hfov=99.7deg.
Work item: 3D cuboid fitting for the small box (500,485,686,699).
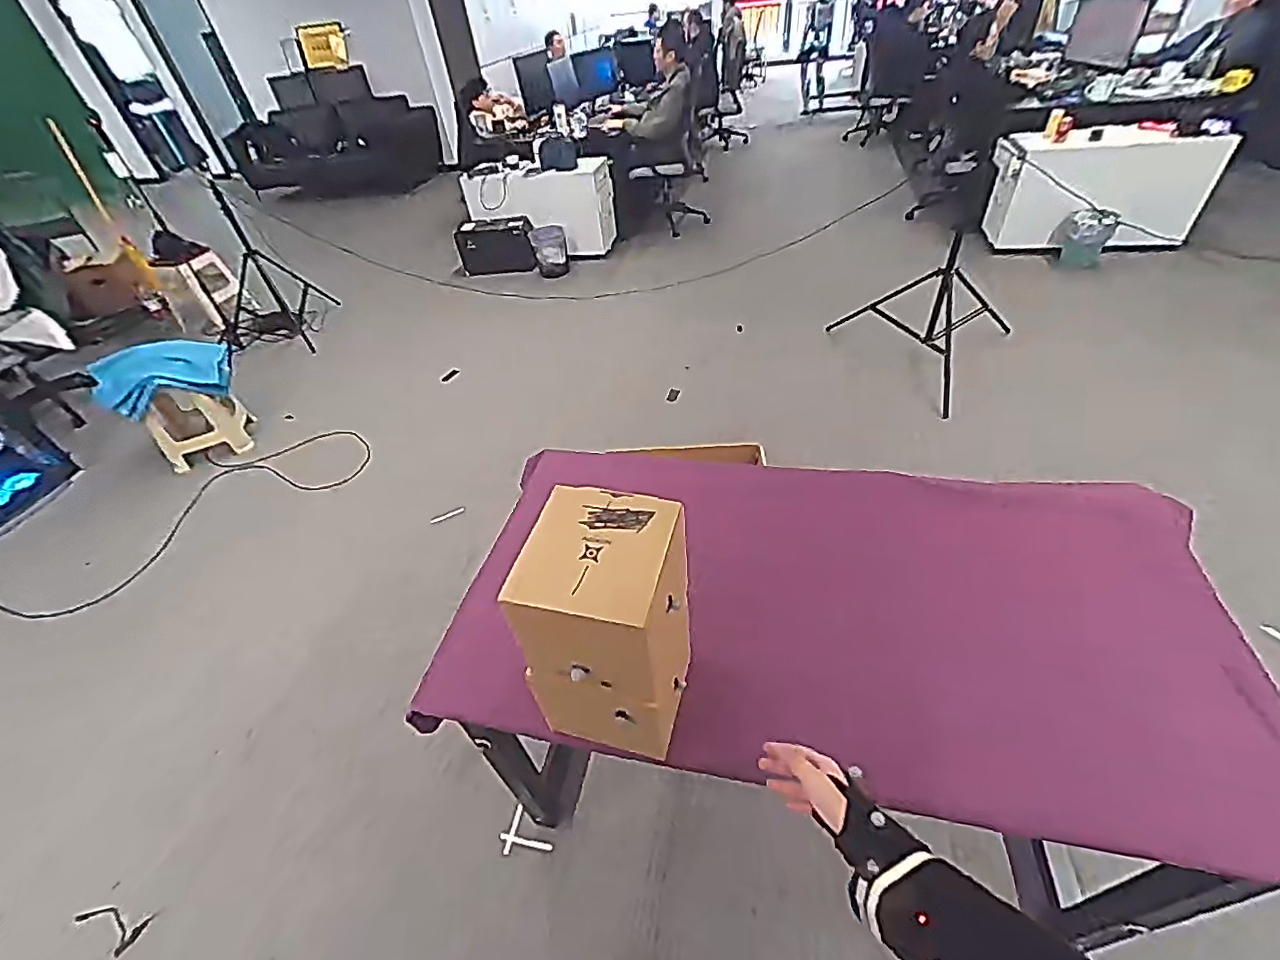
[{"bbox_3d":[-0.042,0.133,0.658,0.168,0.176,0.179,7,46,15],"label":"small box"}]

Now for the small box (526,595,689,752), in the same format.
[{"bbox_3d":[-0.032,0.259,0.764,0.179,0.176,0.168,8,44,16],"label":"small box"}]
